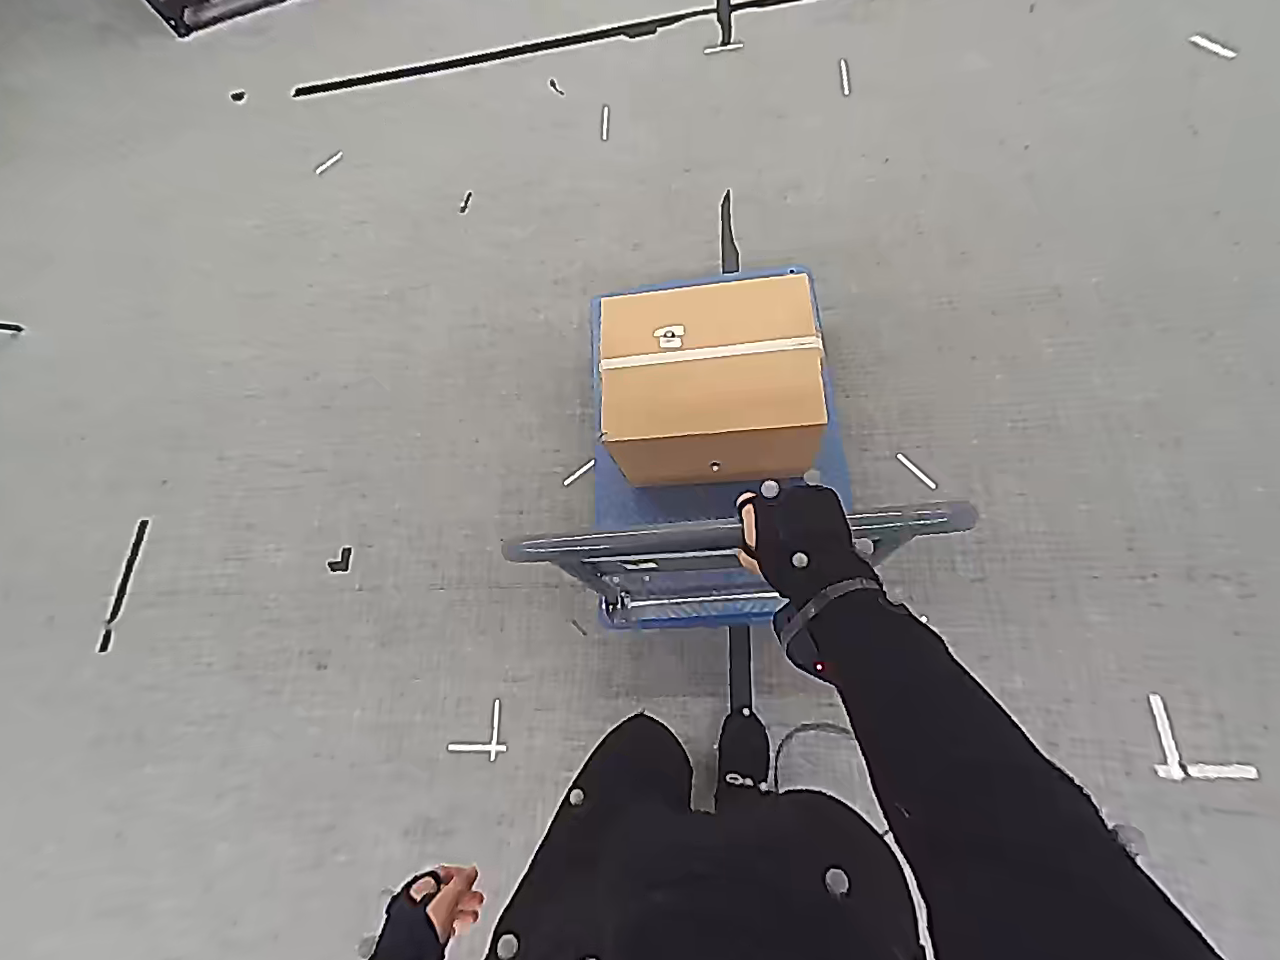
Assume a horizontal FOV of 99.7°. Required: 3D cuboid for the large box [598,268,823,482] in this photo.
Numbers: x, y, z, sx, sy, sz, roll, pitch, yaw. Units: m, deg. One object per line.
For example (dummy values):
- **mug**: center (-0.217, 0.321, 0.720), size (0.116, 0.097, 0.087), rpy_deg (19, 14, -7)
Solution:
- **large box**: center (0.146, -0.196, 1.149), size (0.408, 0.320, 0.320), rpy_deg (-5, 71, 10)
